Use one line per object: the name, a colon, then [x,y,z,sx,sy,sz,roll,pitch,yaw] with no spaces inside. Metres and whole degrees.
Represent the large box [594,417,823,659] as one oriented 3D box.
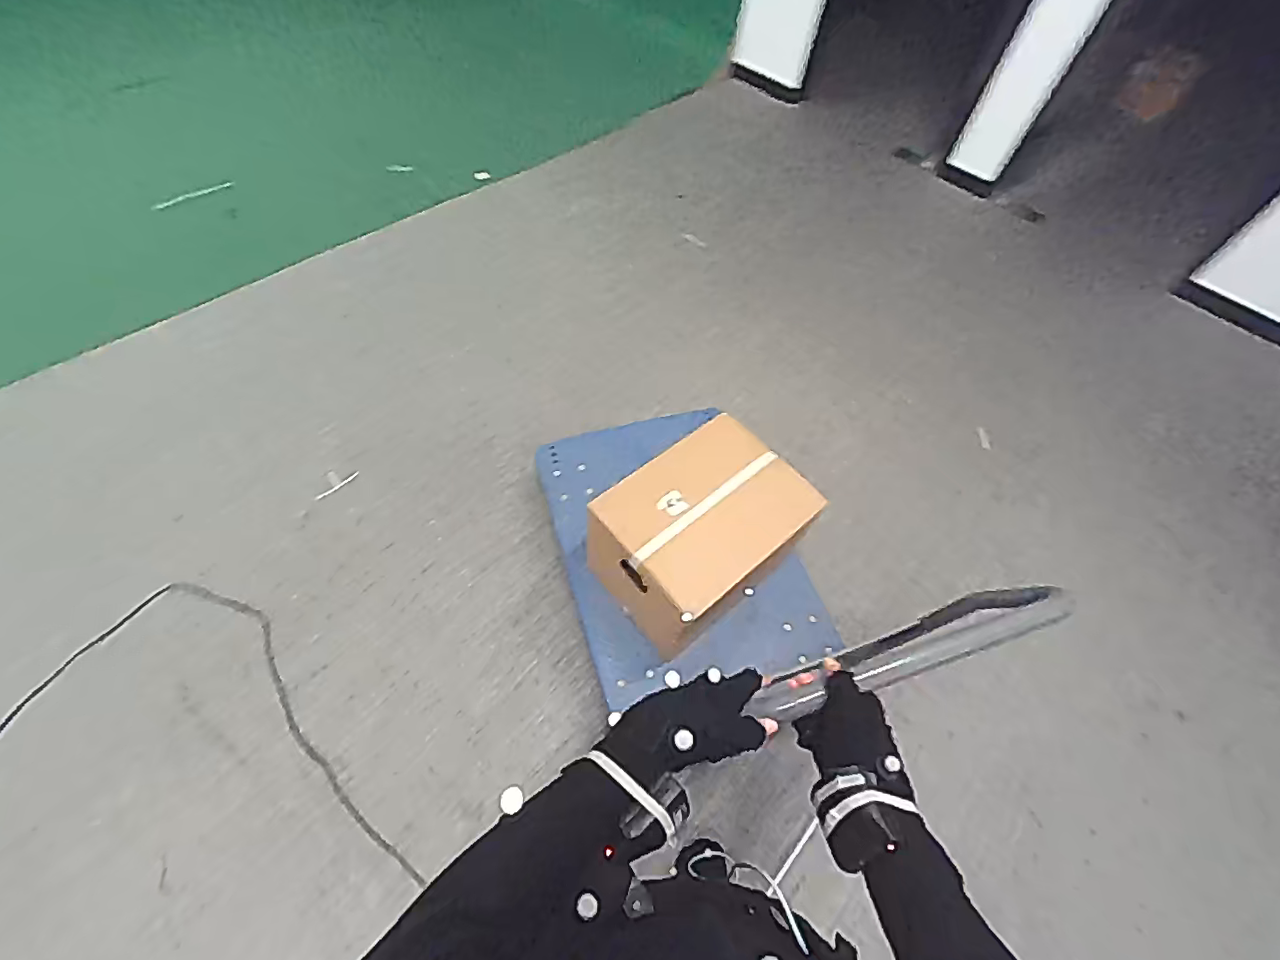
large box: [0.139,0.135,1.250,0.408,0.320,0.320,-36,67,-23]
